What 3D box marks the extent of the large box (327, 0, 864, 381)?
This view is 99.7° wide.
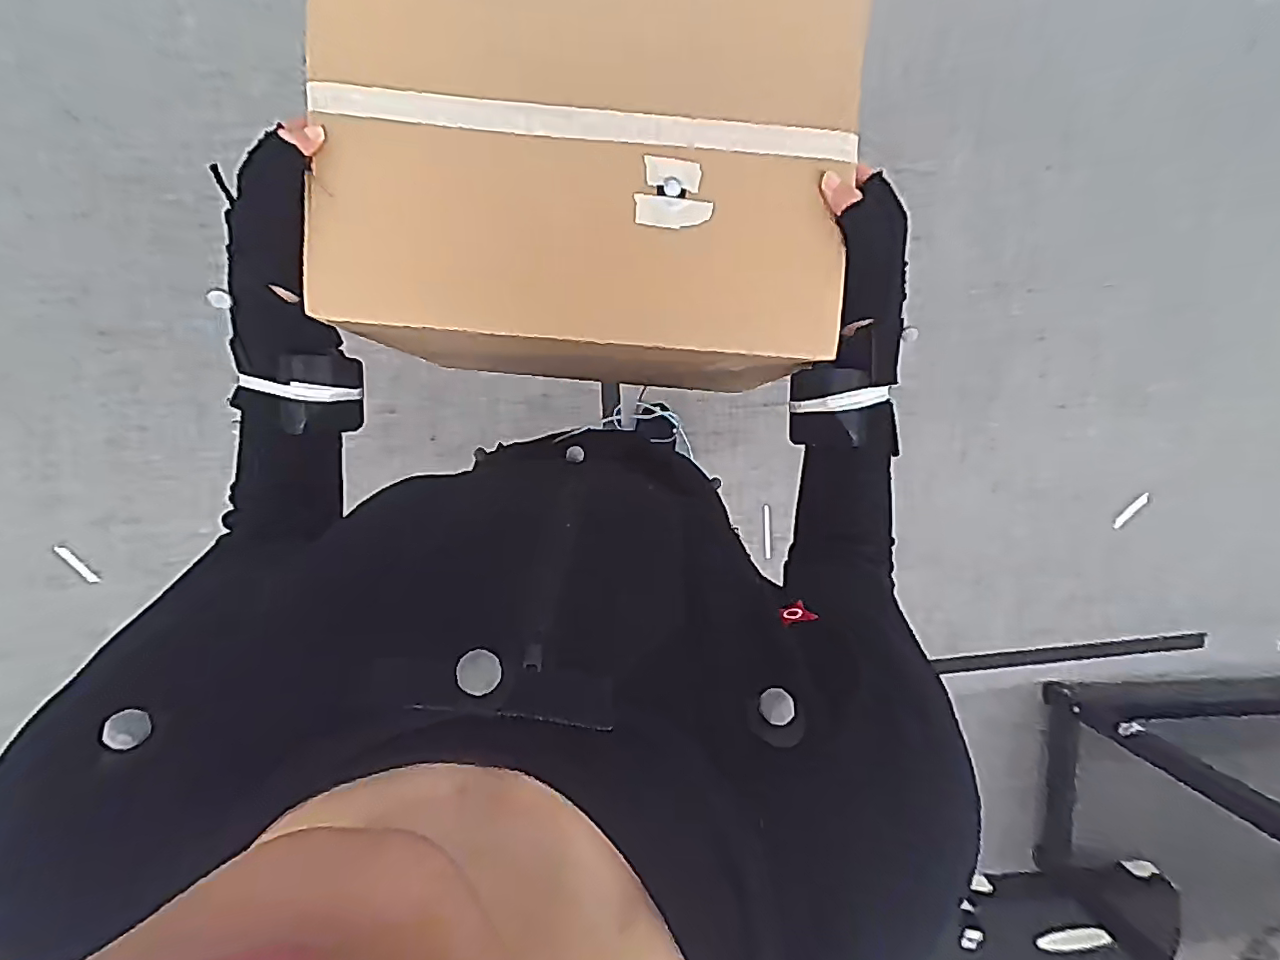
[{"bbox_3d":[-0.042,-0.283,0.560,0.408,0.320,0.320,4,96,-3],"label":"large box"}]
